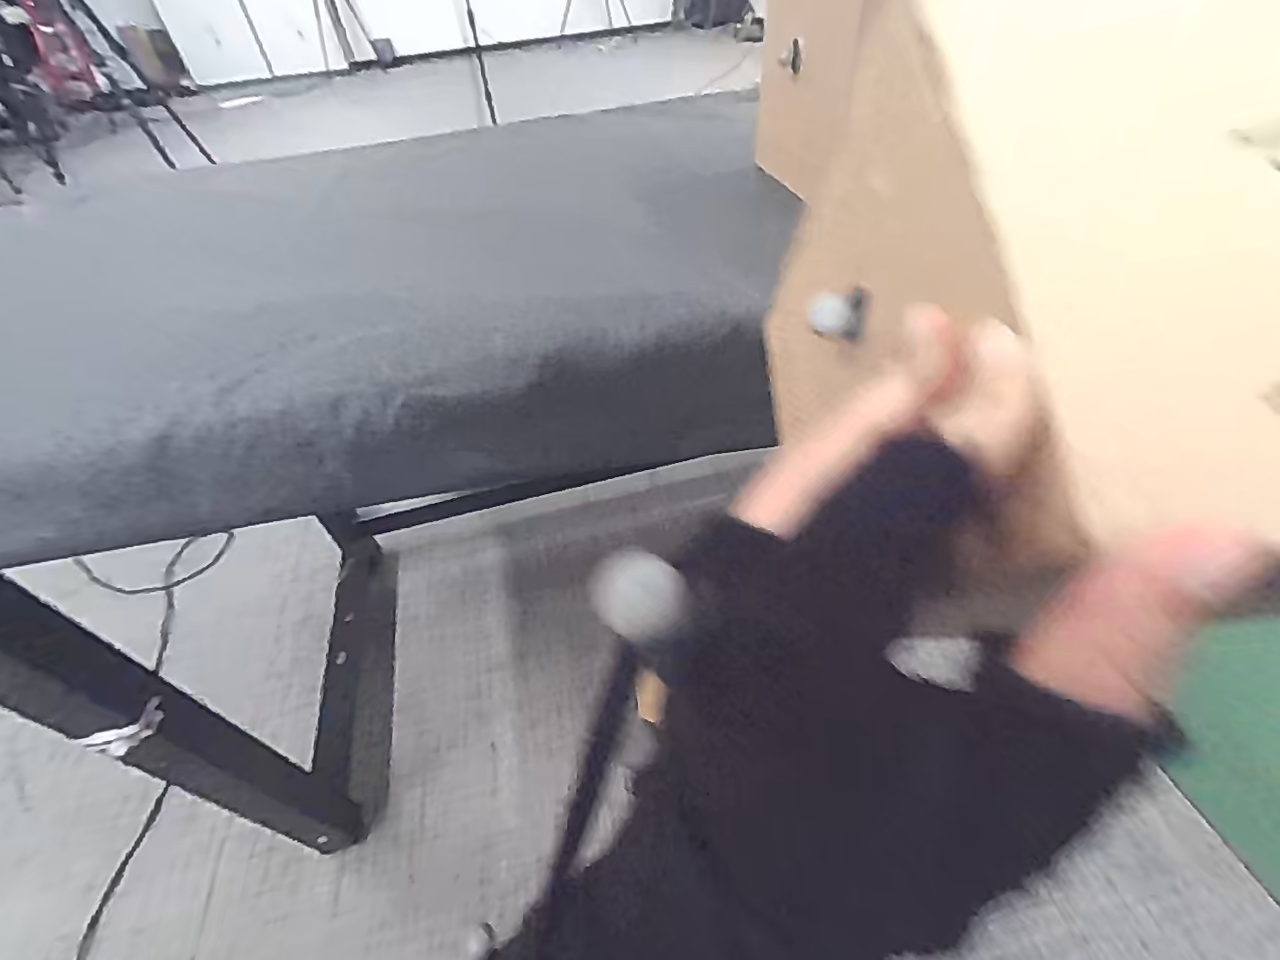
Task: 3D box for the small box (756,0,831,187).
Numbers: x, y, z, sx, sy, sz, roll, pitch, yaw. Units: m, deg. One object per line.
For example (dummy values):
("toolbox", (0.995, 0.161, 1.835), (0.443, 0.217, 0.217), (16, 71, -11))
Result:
("small box", (0.199, -0.327, 0.426), (0.168, 0.176, 0.179), (-11, 44, -4))
